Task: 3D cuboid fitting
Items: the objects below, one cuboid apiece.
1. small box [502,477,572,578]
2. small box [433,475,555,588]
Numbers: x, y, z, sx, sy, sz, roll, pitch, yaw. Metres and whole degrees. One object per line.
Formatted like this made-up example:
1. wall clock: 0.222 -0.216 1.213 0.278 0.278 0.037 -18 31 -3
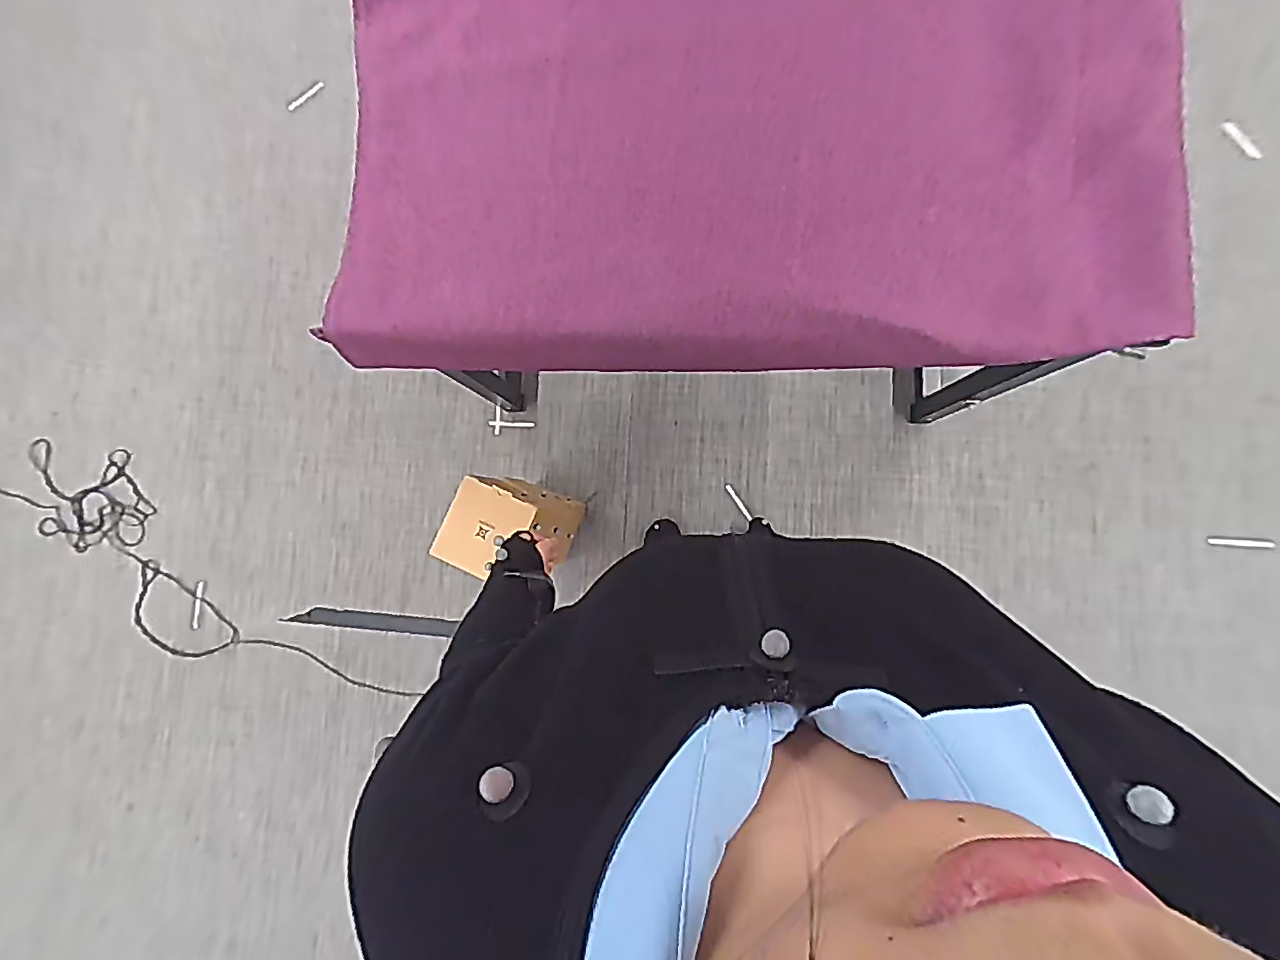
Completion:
1. small box: -0.278 0.111 1.298 0.168 0.176 0.179 31 90 6
2. small box: -0.295 0.106 1.136 0.168 0.176 0.179 24 88 5
